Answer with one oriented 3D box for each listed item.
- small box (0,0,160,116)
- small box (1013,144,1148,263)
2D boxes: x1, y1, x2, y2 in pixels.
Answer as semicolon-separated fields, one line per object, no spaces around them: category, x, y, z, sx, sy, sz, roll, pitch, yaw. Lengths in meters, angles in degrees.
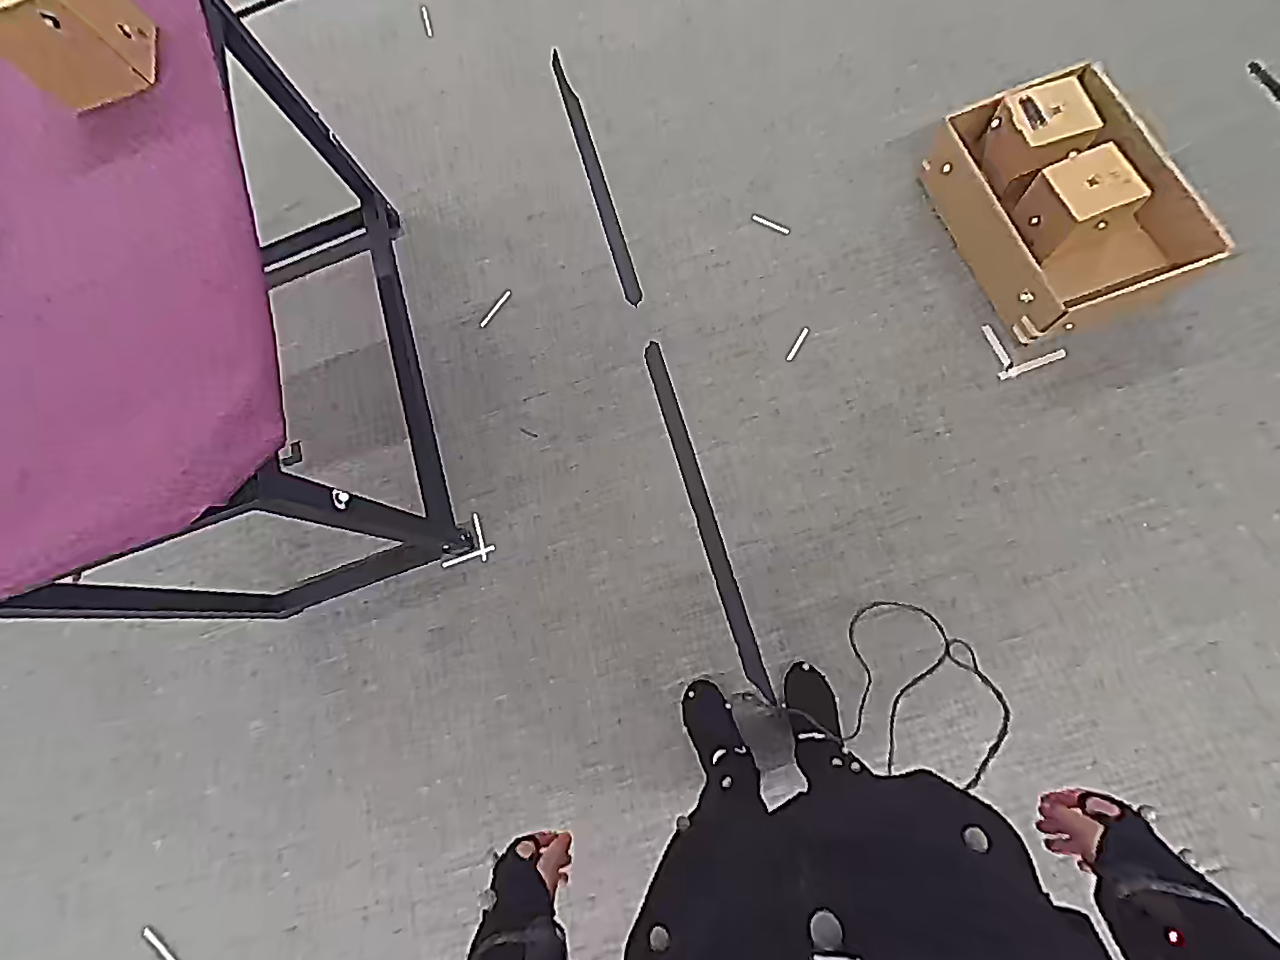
small box;-1.021;-0.801;0.968;0.179;0.176;0.168;-15;74;6
small box;1.071;-0.674;1.340;0.179;0.176;0.168;-20;74;3
